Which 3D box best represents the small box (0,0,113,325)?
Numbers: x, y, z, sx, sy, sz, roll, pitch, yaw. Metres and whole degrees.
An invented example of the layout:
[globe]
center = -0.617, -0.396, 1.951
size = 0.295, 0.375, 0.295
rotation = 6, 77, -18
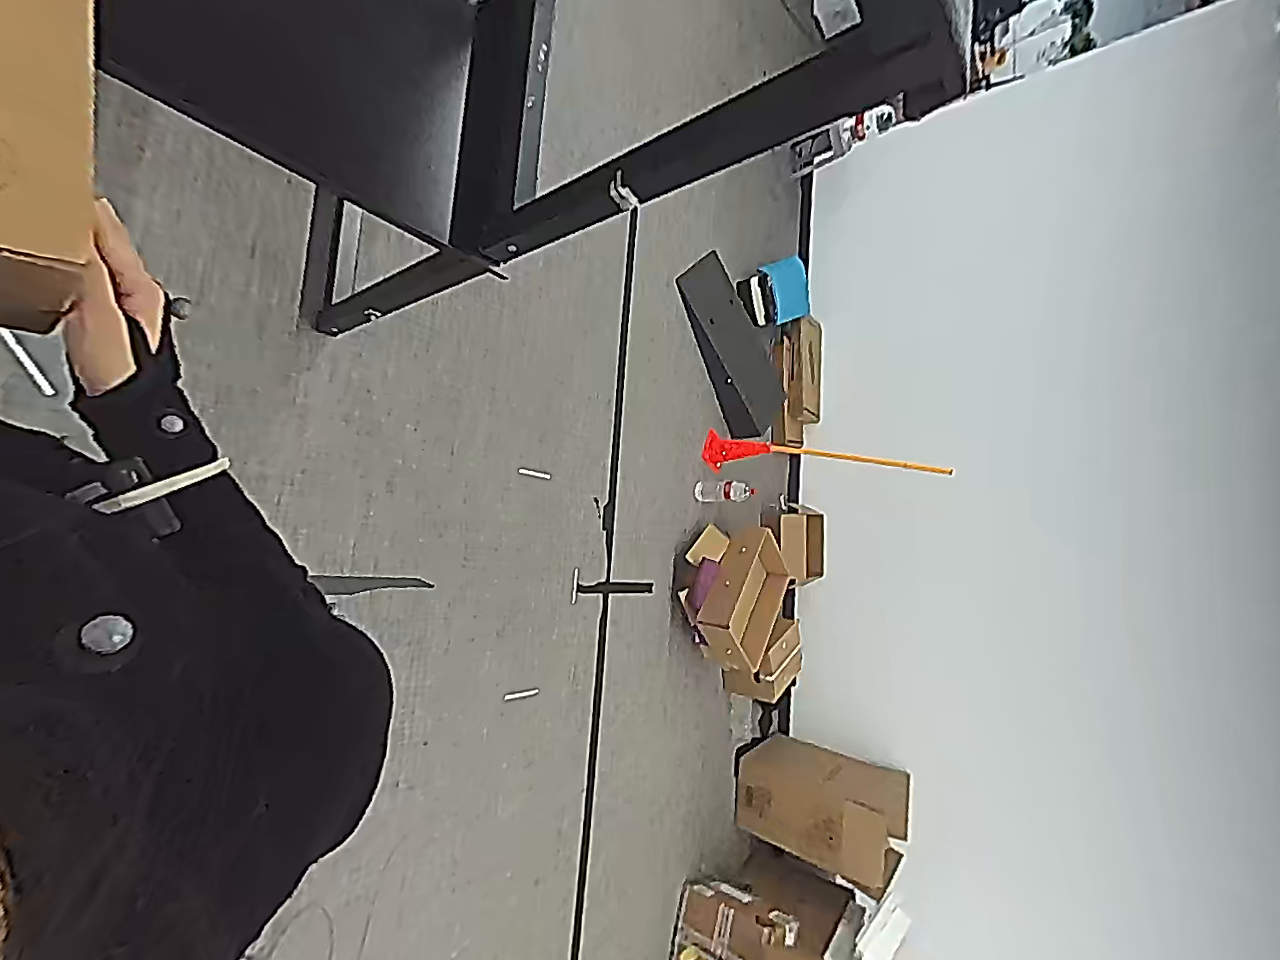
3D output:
[small box]
center = -0.380, -0.186, 0.258
size = 0.168, 0.176, 0.179
rotation = 0, 90, -53
